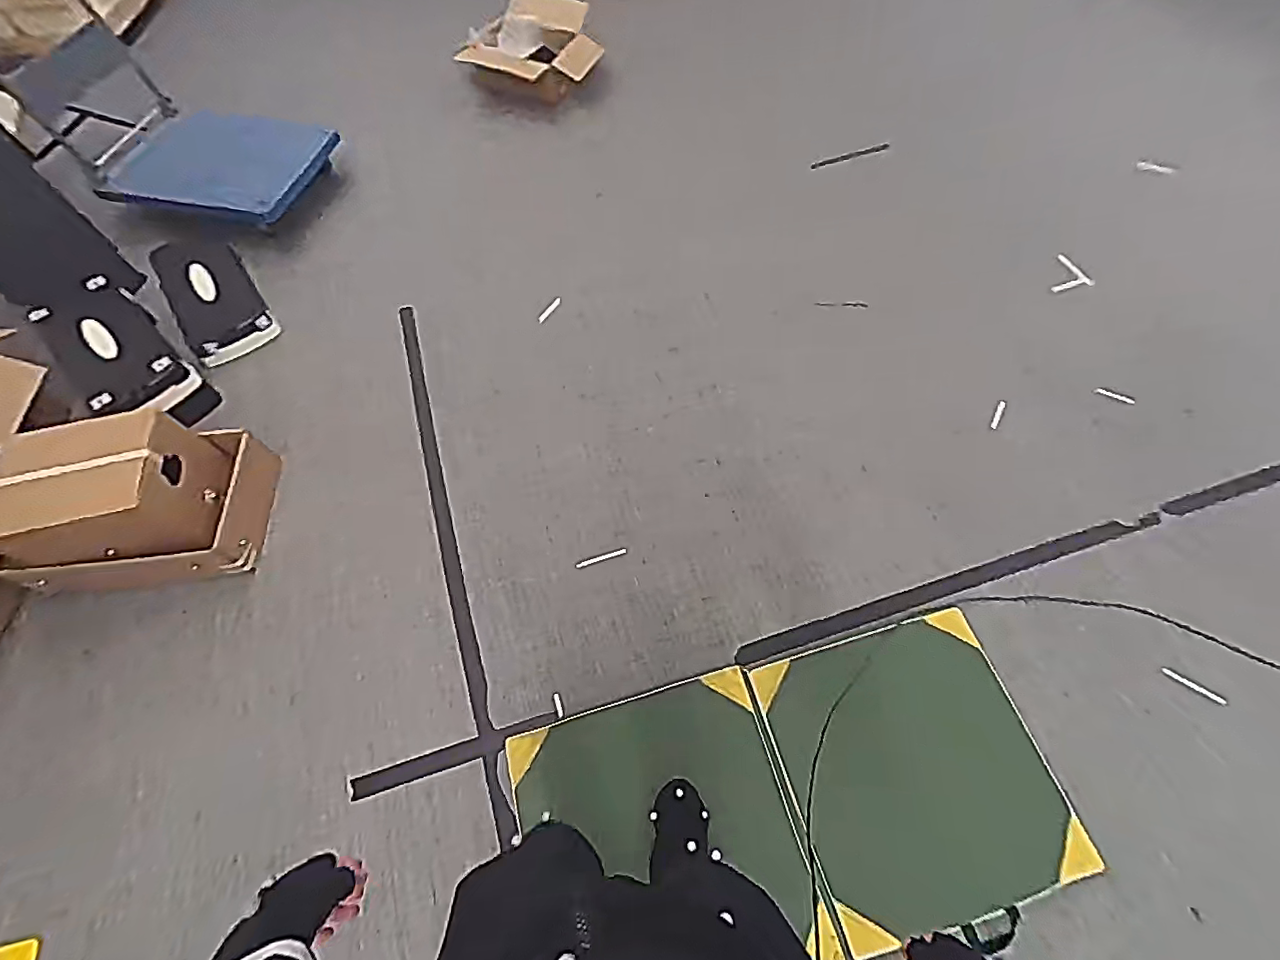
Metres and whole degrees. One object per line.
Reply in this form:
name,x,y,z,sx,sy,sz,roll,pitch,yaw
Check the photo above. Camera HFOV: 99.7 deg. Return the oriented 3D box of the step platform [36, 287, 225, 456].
step platform,-1.776,-0.394,1.883,0.684,0.204,0.286,39,70,19
